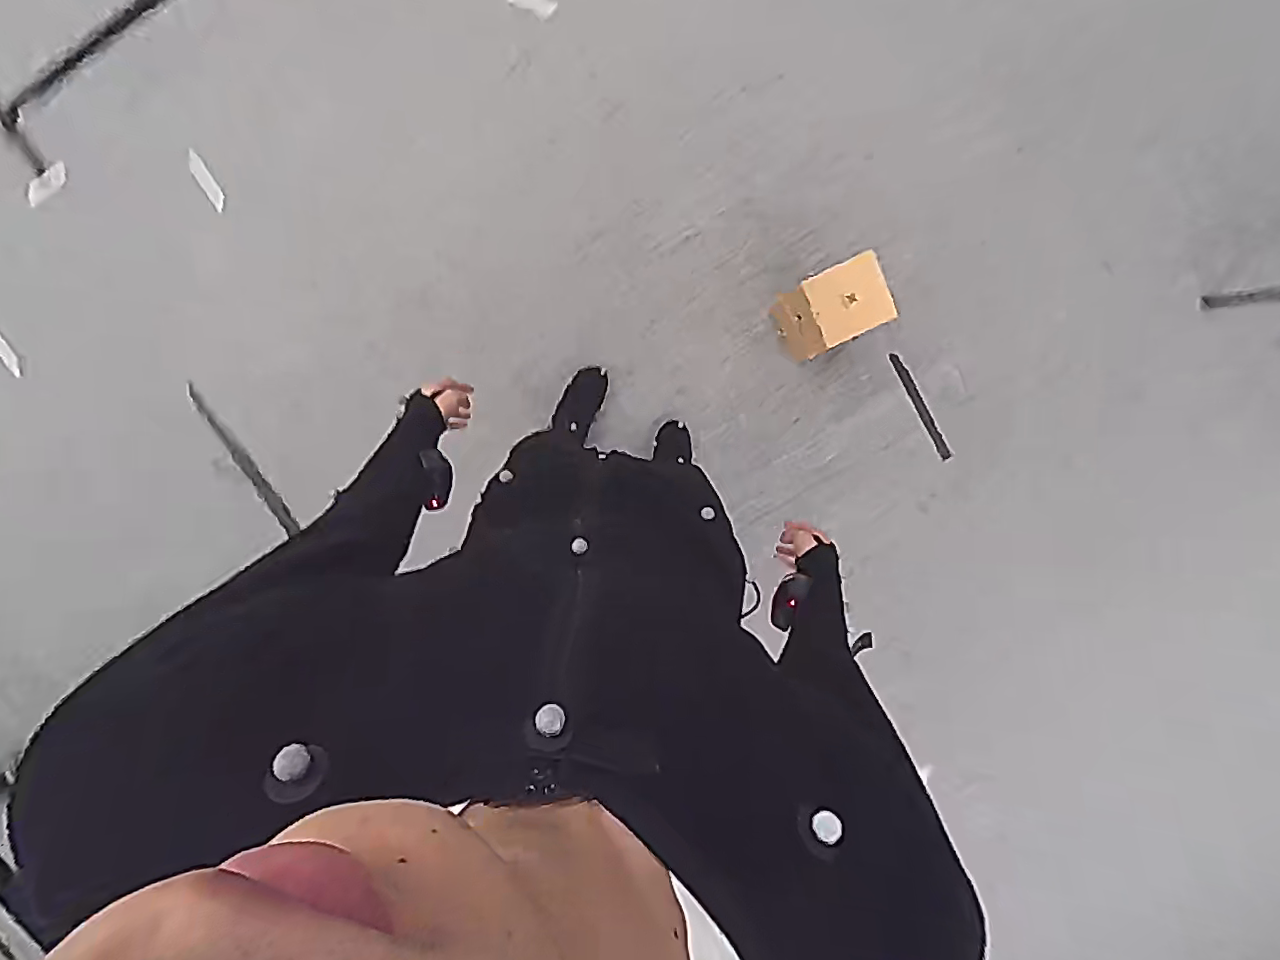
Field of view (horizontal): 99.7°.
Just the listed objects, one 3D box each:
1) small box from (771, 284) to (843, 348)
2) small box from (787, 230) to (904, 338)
[{"bbox_3d":[0.467,-0.459,1.408,0.179,0.176,0.168,-27,98,5],"label":"small box"},{"bbox_3d":[0.464,-0.442,1.247,0.179,0.176,0.168,-24,99,5],"label":"small box"}]
